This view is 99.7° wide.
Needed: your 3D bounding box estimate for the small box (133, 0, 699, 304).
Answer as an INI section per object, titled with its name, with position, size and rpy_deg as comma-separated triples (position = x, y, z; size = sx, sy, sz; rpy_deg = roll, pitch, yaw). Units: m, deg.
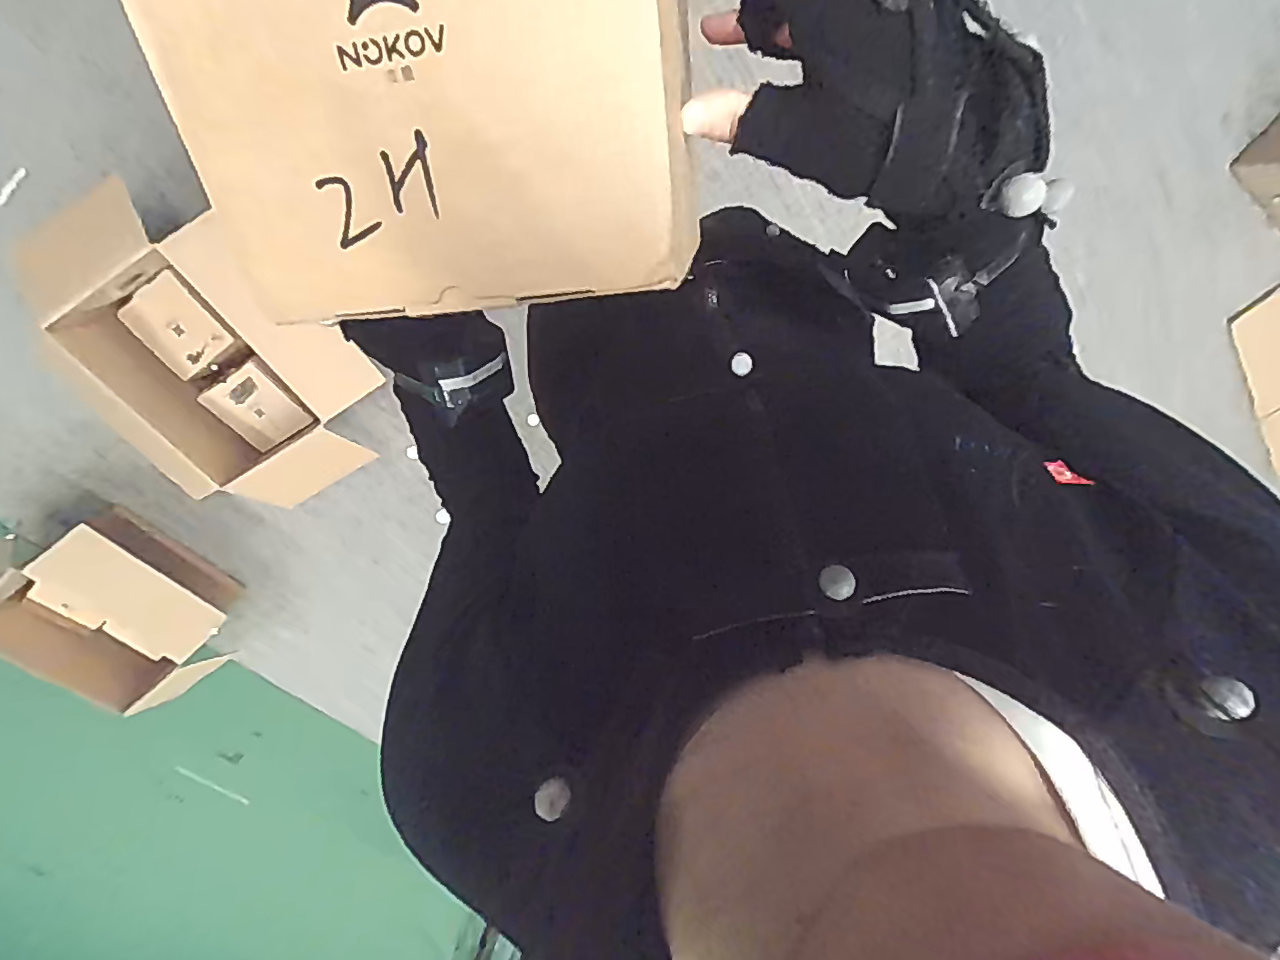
[small box]
position = -0.063, -0.184, 0.225
size = 0.168, 0.176, 0.179
rpy_deg = -2, 119, 10
